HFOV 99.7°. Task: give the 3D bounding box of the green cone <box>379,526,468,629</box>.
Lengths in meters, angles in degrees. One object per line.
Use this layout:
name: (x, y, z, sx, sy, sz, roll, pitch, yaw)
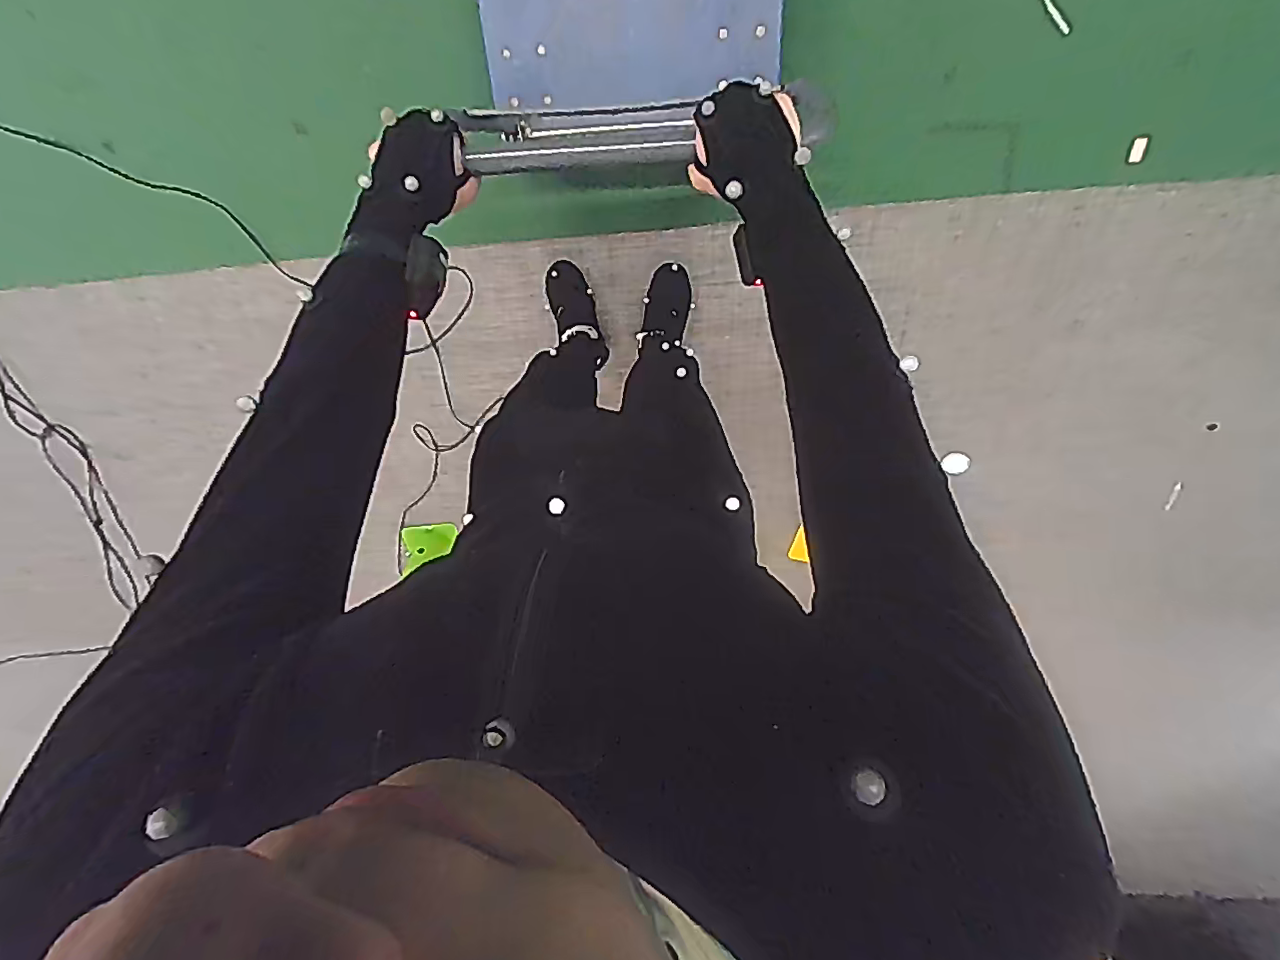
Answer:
green cone: (-0.727, 0.330, 1.732, 0.202, 0.368, 0.200, -6, 119, 8)
